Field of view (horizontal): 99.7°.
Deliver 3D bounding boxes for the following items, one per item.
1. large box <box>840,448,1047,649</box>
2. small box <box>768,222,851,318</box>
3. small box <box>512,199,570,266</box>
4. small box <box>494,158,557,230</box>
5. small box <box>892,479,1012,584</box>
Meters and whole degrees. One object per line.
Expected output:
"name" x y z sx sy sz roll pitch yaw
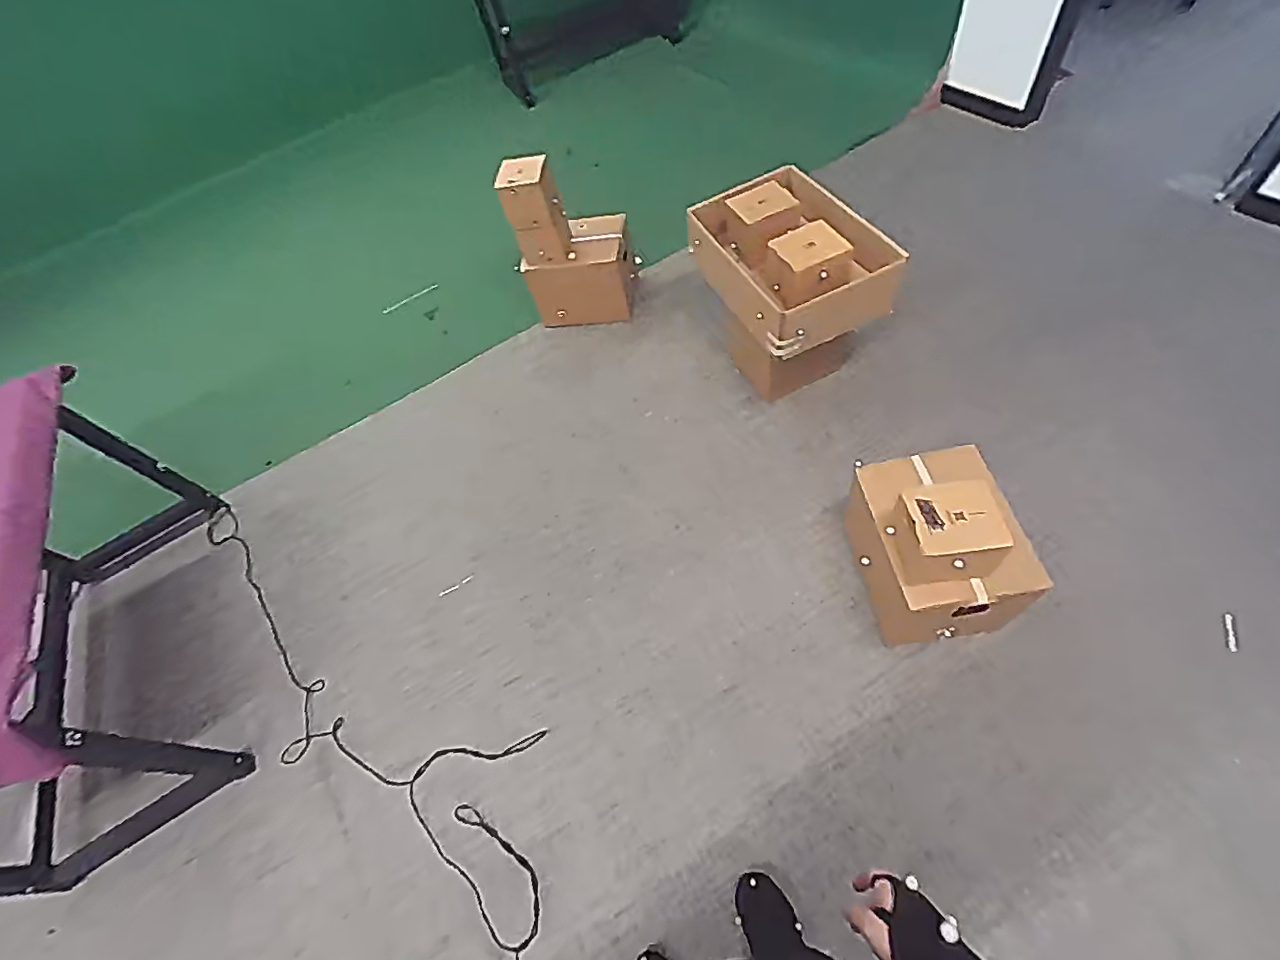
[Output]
"large box" 0.763 0.189 1.443 0.320 0.320 0.408 -11 55 5
"small box" 0.490 -0.614 1.591 0.179 0.176 0.168 -25 56 -2
"small box" -0.385 -0.976 2.137 0.168 0.176 0.179 -1 59 11
"small box" -0.415 -1.052 1.995 0.168 0.176 0.179 -2 58 11
"small box" 0.679 0.121 1.208 0.179 0.176 0.168 -9 57 8
